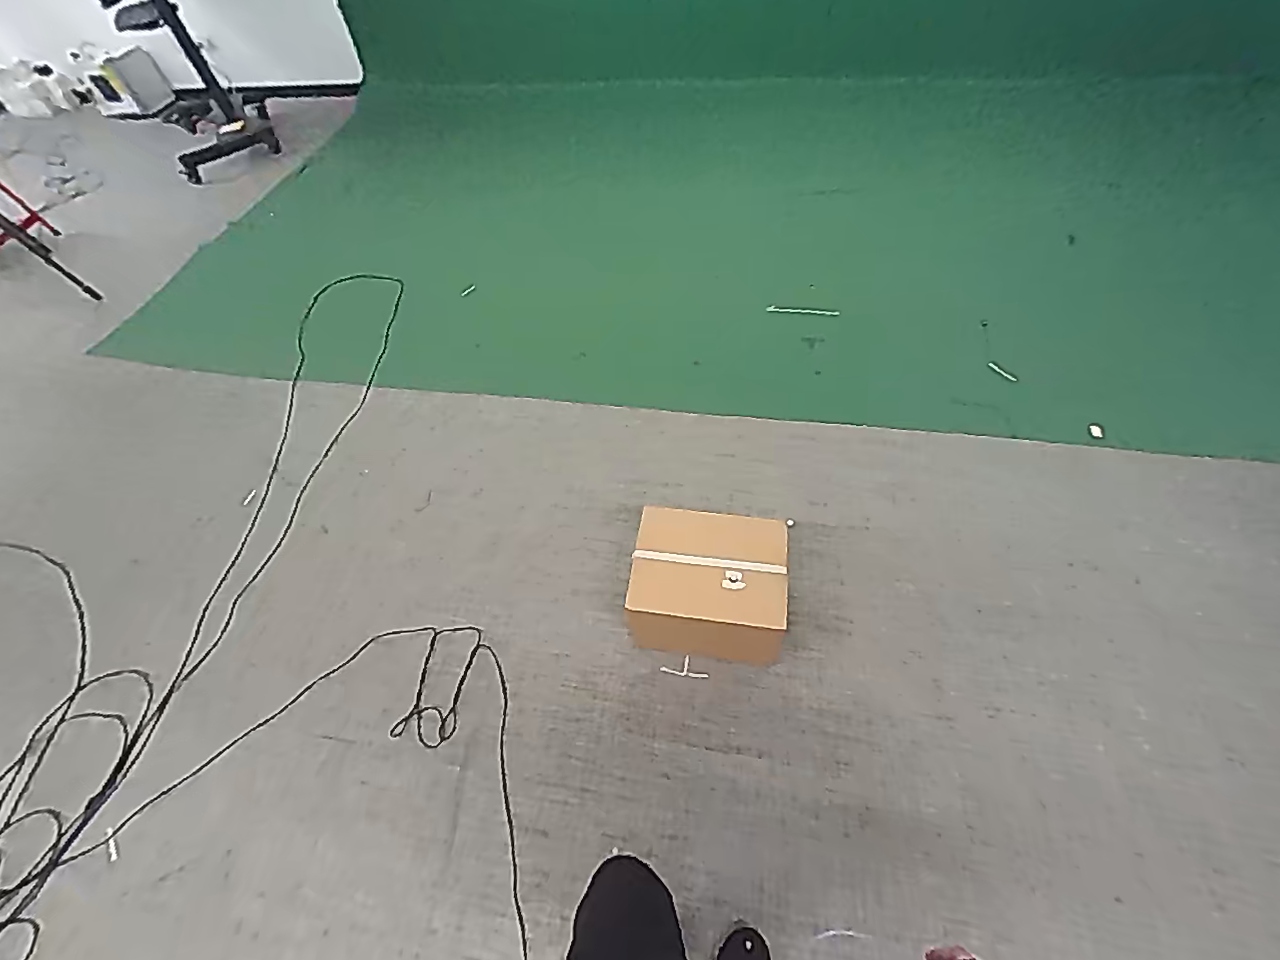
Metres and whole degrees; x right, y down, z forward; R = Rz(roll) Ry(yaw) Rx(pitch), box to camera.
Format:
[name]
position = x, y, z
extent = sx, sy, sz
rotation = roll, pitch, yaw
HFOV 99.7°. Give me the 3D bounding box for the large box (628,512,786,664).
[large box]
position = 0.191, 0.314, 1.559
extent = 0.408, 0.320, 0.320
rotation = 5, 55, 8
